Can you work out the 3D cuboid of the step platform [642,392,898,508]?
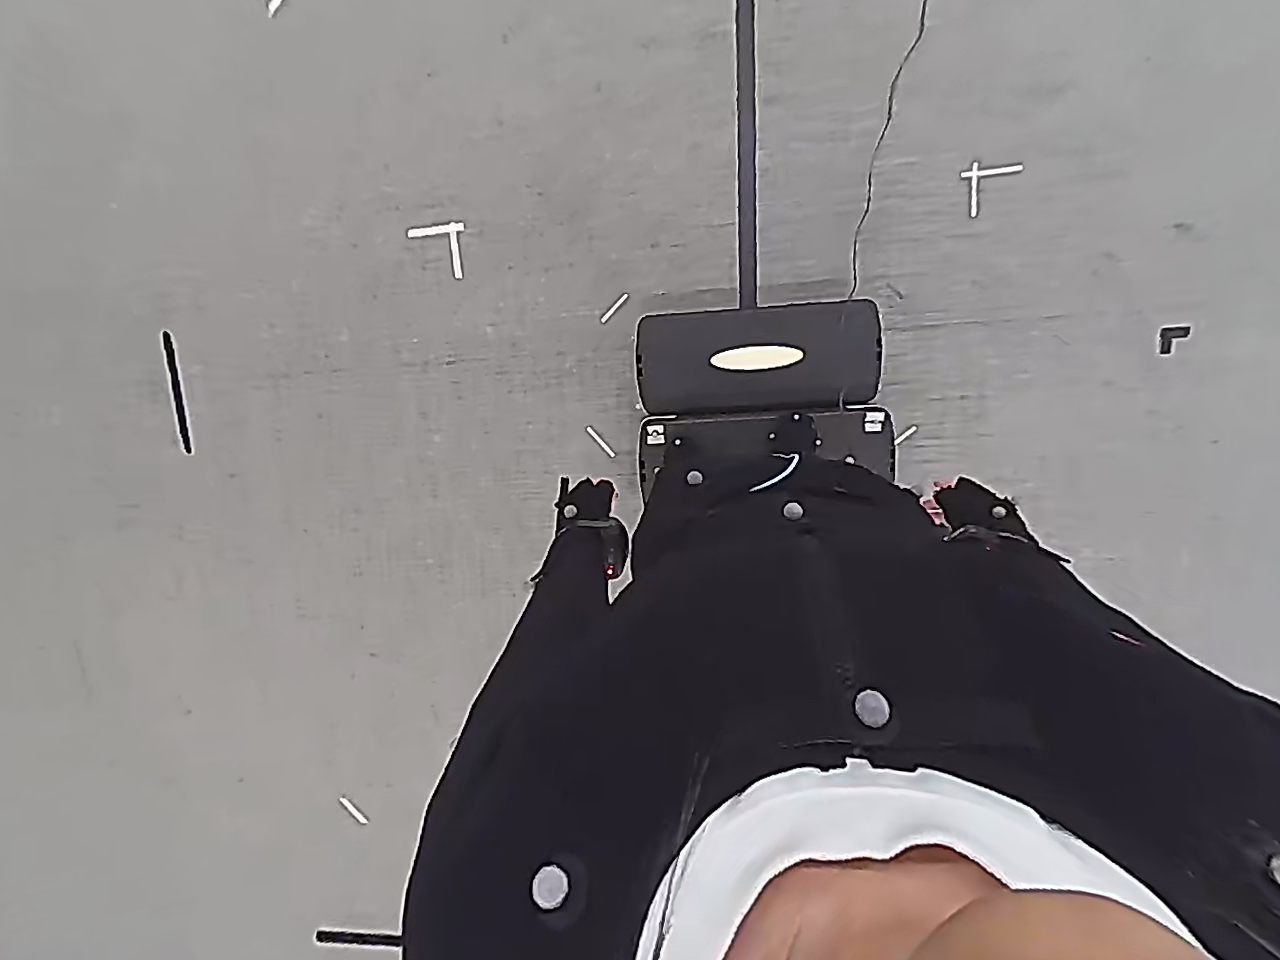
[{"bbox_3d":[0.345,-0.081,1.511,0.684,0.204,0.286,-3,97,7],"label":"step platform"}]
